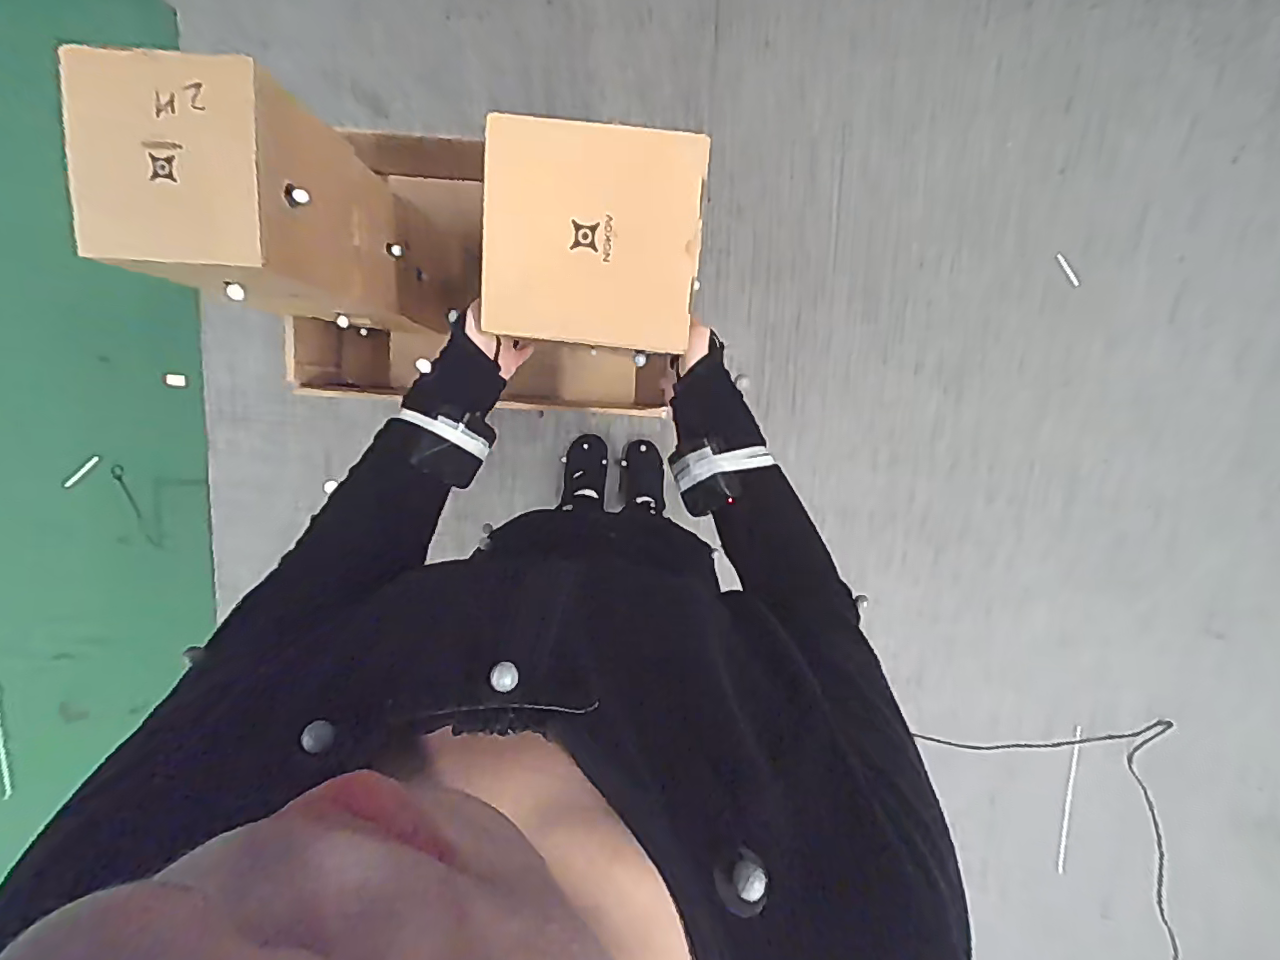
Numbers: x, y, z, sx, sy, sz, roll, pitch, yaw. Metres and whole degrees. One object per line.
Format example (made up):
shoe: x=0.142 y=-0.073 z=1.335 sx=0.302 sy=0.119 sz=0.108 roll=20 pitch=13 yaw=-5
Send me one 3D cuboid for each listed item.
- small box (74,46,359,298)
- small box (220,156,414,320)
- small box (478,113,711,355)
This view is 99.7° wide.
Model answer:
small box: x=-0.412 y=-0.294 z=0.557 sx=0.168 sy=0.176 sz=0.179 roll=4 pitch=97 yaw=-1
small box: x=-0.416 y=-0.313 z=0.720 sx=0.179 sy=0.176 sz=0.168 roll=2 pitch=97 yaw=0
small box: x=-0.038 y=-0.211 z=0.510 sx=0.179 sy=0.176 sz=0.168 roll=6 pitch=102 yaw=-1
